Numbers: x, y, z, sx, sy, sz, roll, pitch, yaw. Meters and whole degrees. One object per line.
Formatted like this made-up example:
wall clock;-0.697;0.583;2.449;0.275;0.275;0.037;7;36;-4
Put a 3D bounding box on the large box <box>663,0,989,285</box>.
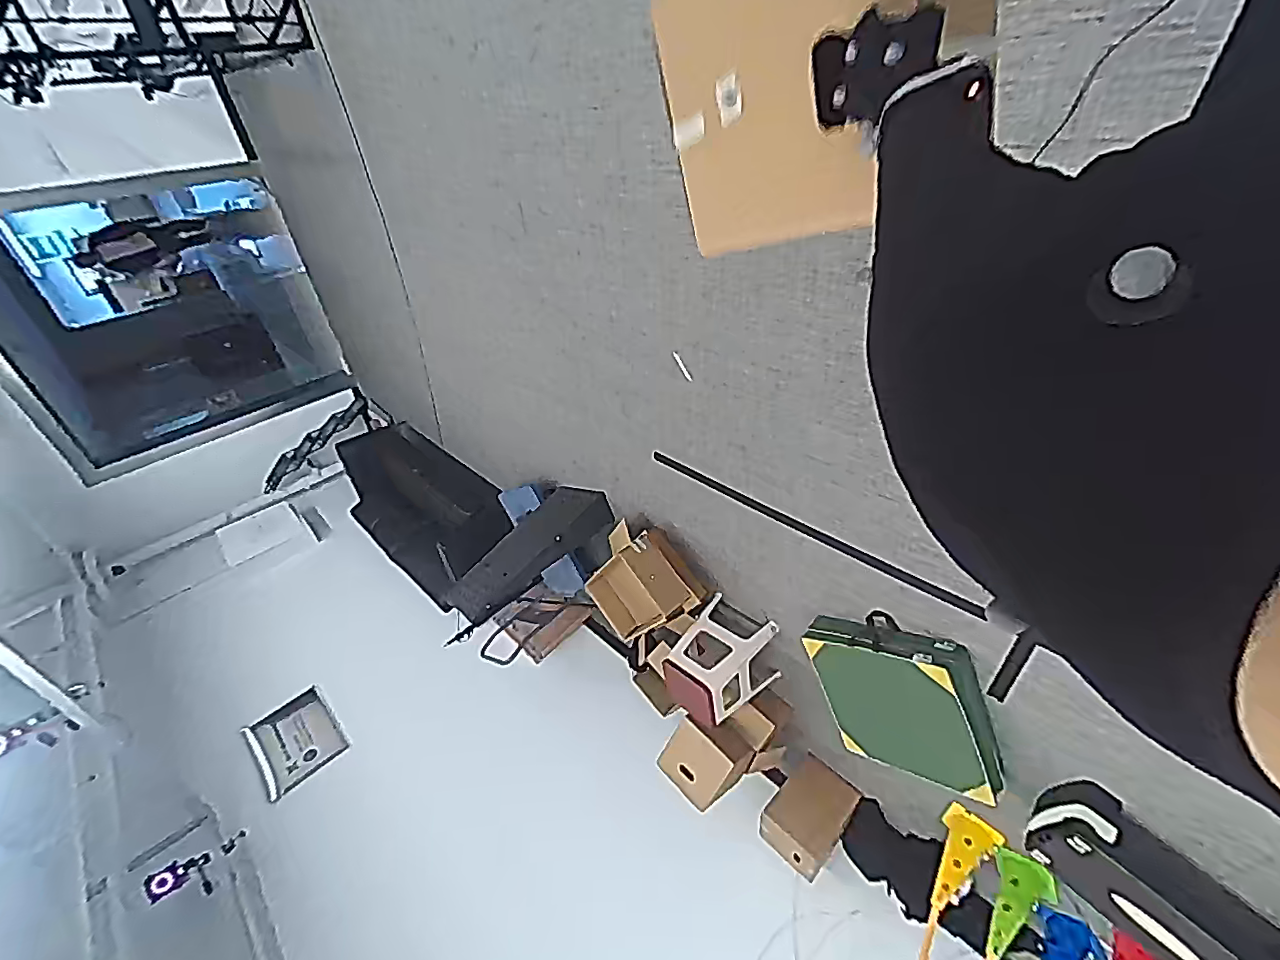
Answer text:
large box;0.295;-0.518;0.798;0.320;0.408;0.320;5;122;40
